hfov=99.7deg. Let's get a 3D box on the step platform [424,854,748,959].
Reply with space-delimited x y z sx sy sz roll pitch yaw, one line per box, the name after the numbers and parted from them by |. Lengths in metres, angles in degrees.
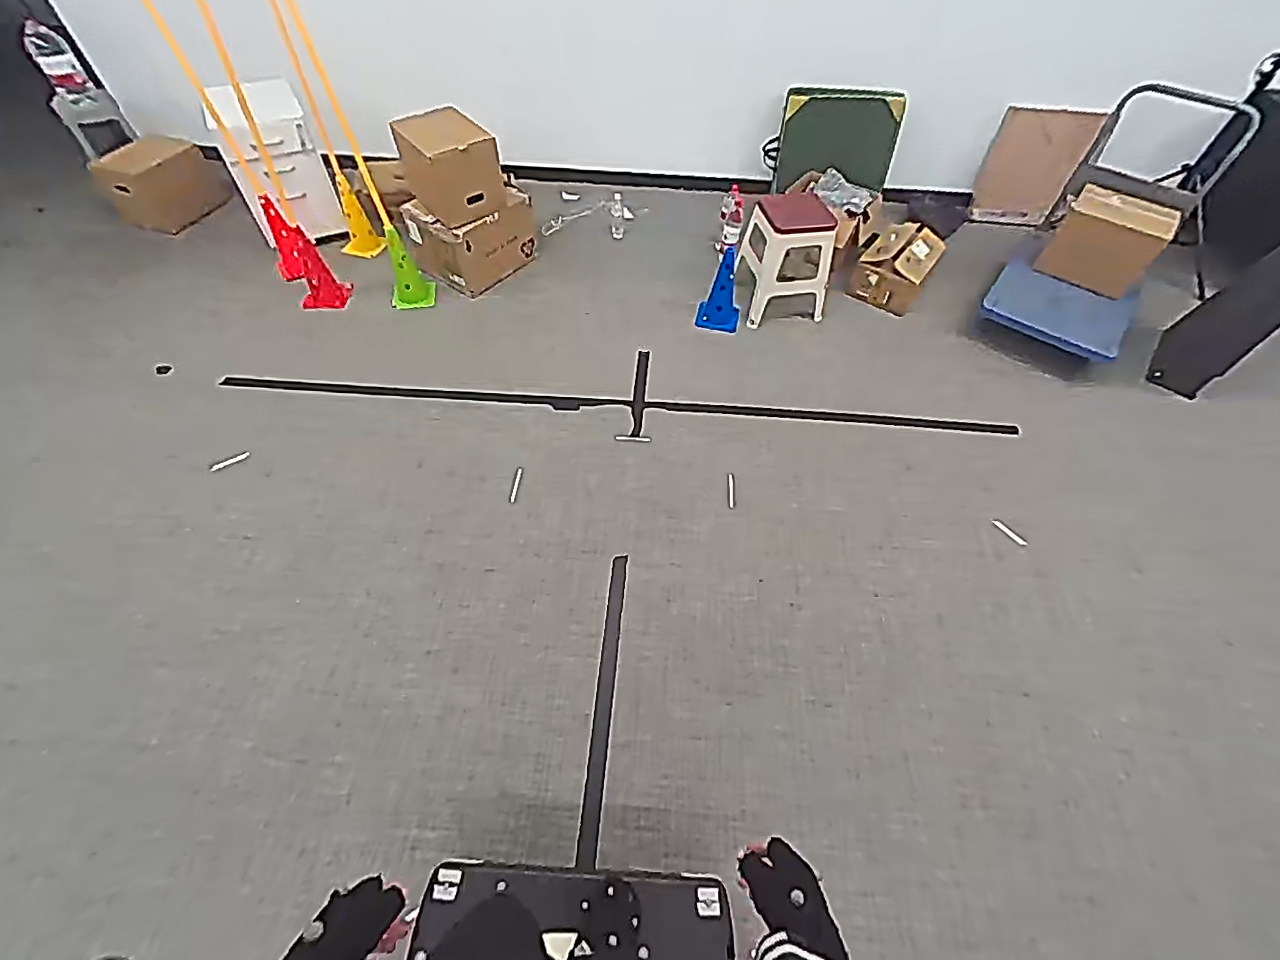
-0.111 1.009 1.182 0.684 0.204 0.286 4 54 -1 | step platform
